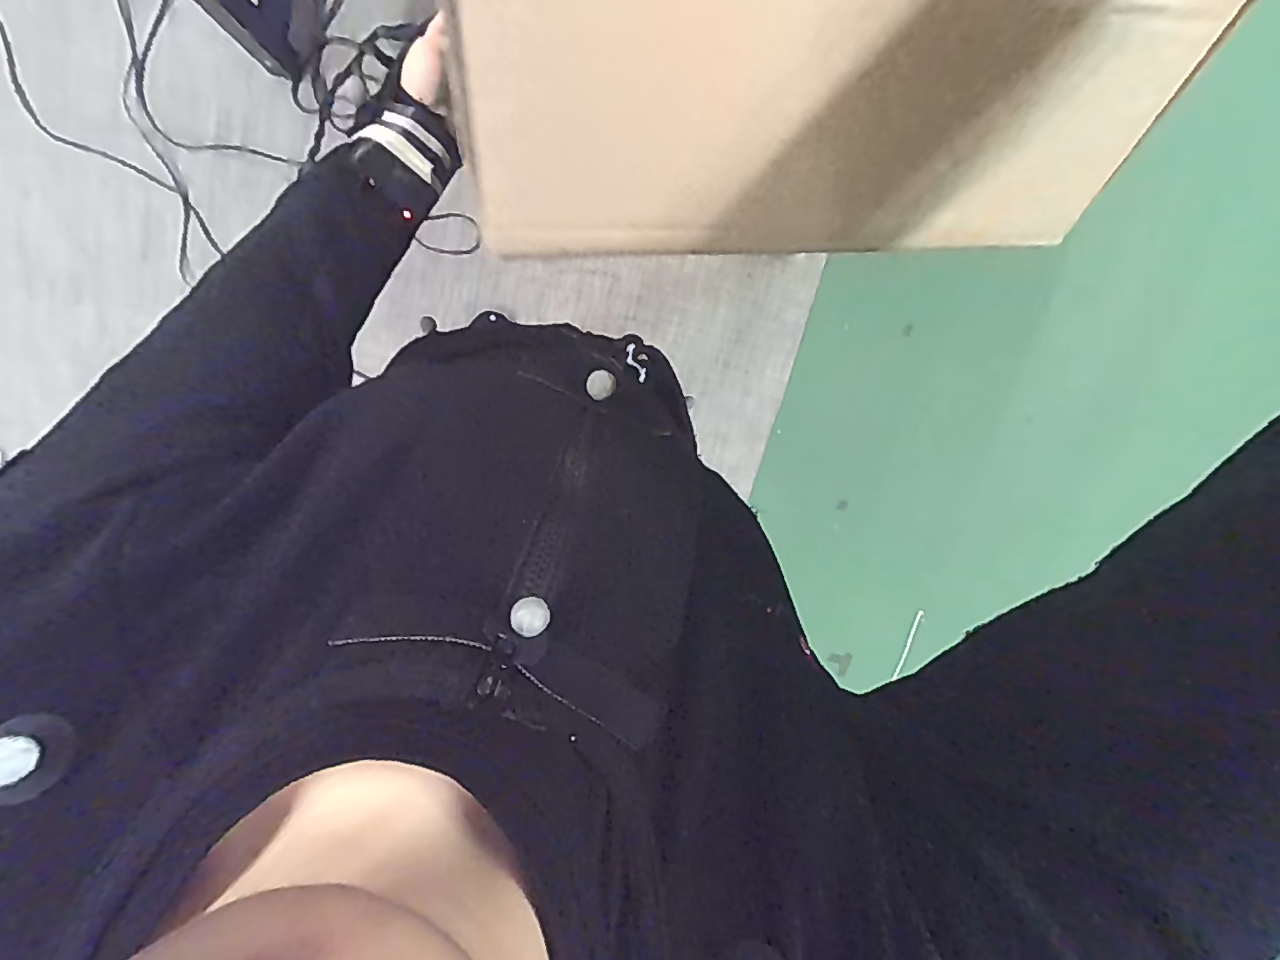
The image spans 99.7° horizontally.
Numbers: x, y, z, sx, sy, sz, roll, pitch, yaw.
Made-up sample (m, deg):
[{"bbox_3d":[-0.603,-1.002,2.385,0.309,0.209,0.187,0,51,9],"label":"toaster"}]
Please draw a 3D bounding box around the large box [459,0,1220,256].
[{"bbox_3d":[0.054,-0.366,0.260,0.320,0.408,0.320,-9,146,-14],"label":"large box"}]
